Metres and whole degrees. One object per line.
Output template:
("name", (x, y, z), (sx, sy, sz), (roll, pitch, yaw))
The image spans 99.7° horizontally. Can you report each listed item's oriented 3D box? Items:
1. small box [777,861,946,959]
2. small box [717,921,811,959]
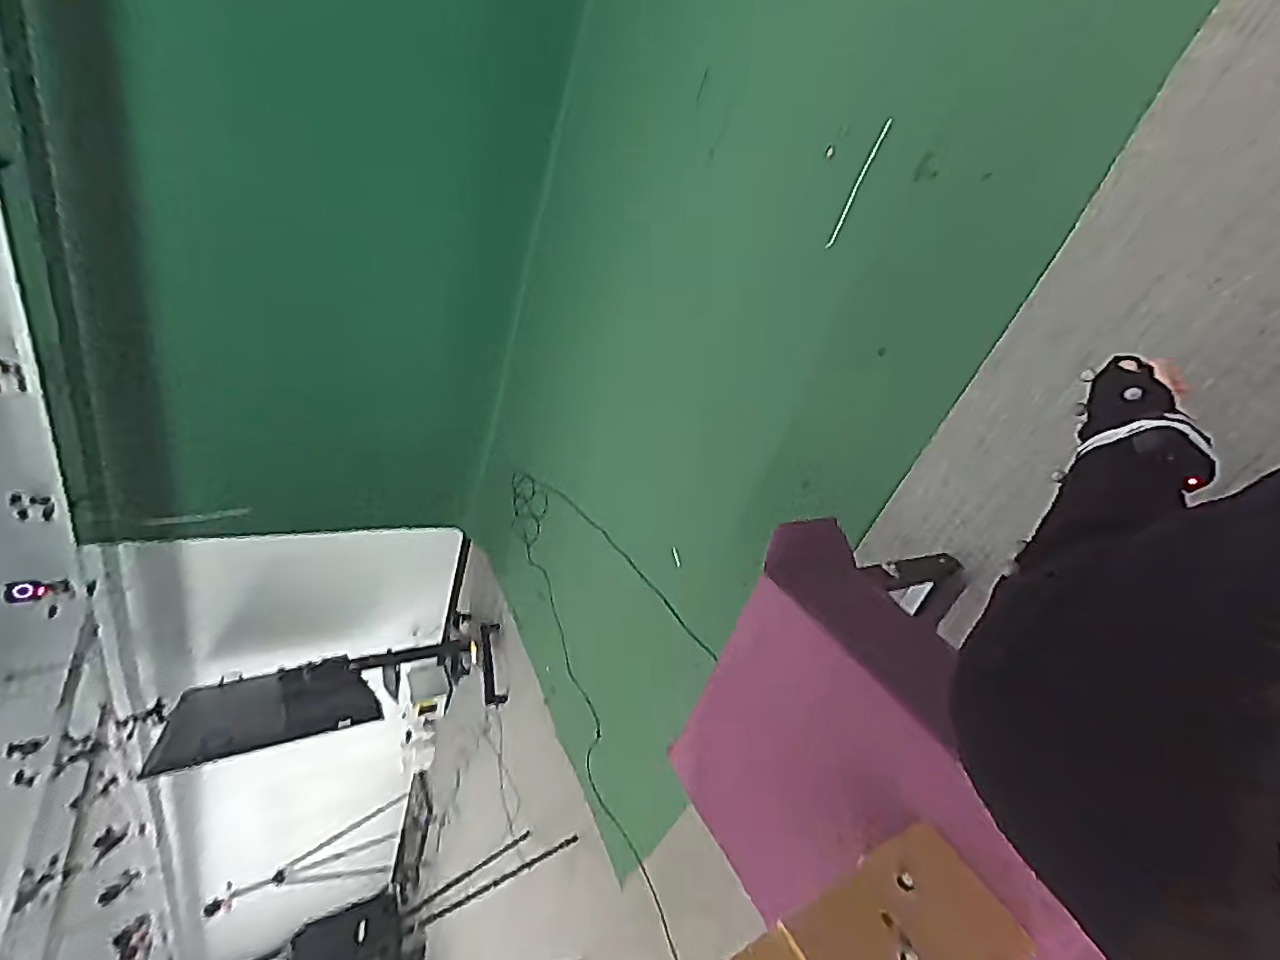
("small box", (0.255, 0.625, 0.666), (0.168, 0.176, 0.179), (45, 125, 45))
("small box", (0.121, 0.633, 0.574), (0.168, 0.176, 0.179), (42, 123, 46))
